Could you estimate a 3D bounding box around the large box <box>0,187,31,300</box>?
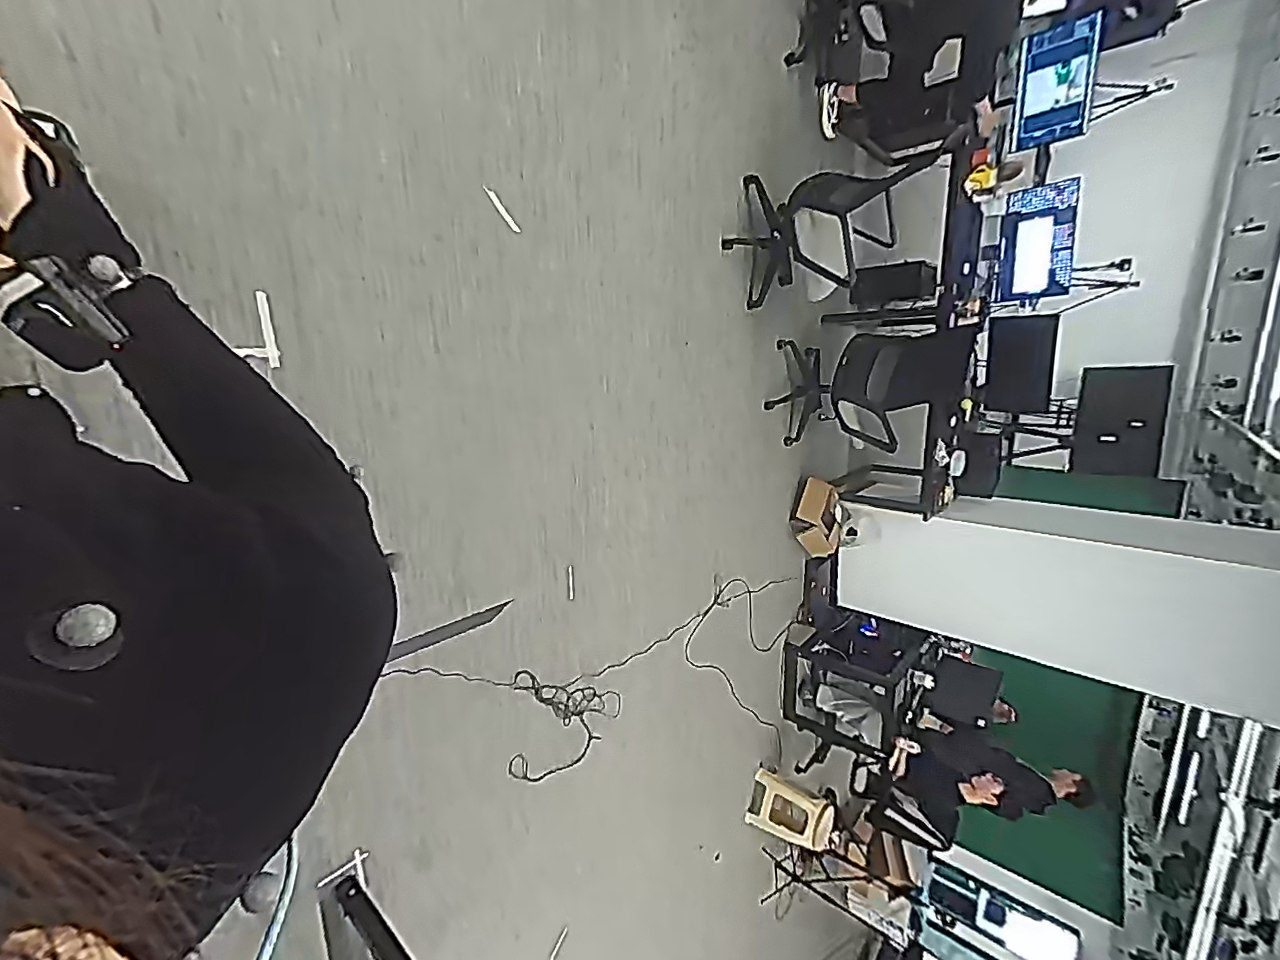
[{"bbox_3d":[-1.011,-0.369,0.593,0.408,0.320,0.320,-18,109,-45],"label":"large box"}]
